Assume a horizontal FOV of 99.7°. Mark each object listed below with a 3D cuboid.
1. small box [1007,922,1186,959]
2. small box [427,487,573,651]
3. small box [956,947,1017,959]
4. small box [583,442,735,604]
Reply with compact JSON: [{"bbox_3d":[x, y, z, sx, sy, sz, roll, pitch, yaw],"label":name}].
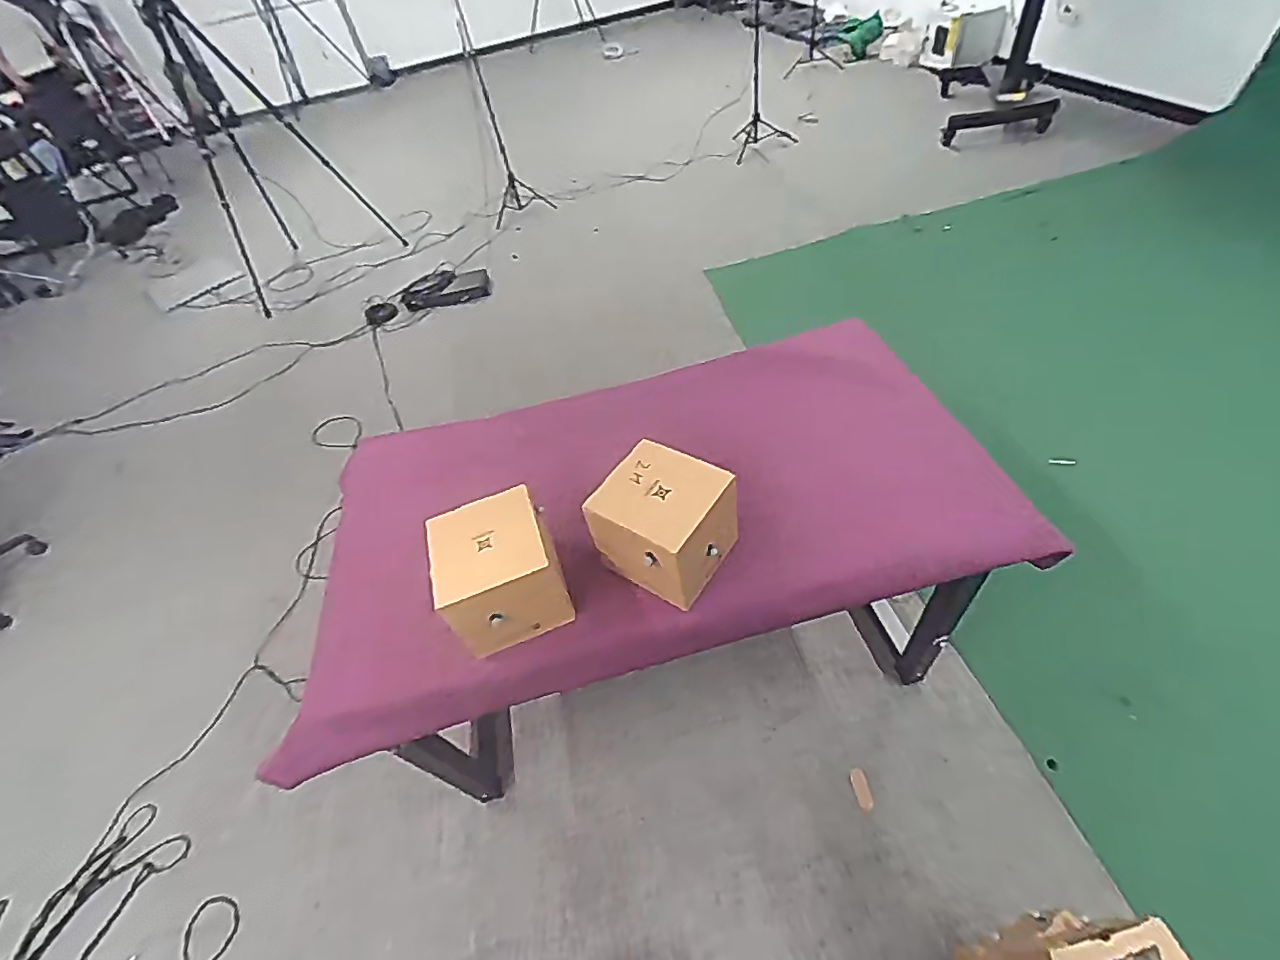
[{"bbox_3d":[0.641,0.722,0.722,0.168,0.176,0.179,-13,49,-1],"label":"small box"},{"bbox_3d":[-0.218,0.149,0.859,0.168,0.176,0.179,-21,47,-7],"label":"small box"},{"bbox_3d":[0.691,0.942,0.961,0.179,0.176,0.168,-8,49,5],"label":"small box"},{"bbox_3d":[0.040,0.074,0.871,0.179,0.176,0.168,24,57,29],"label":"small box"}]
